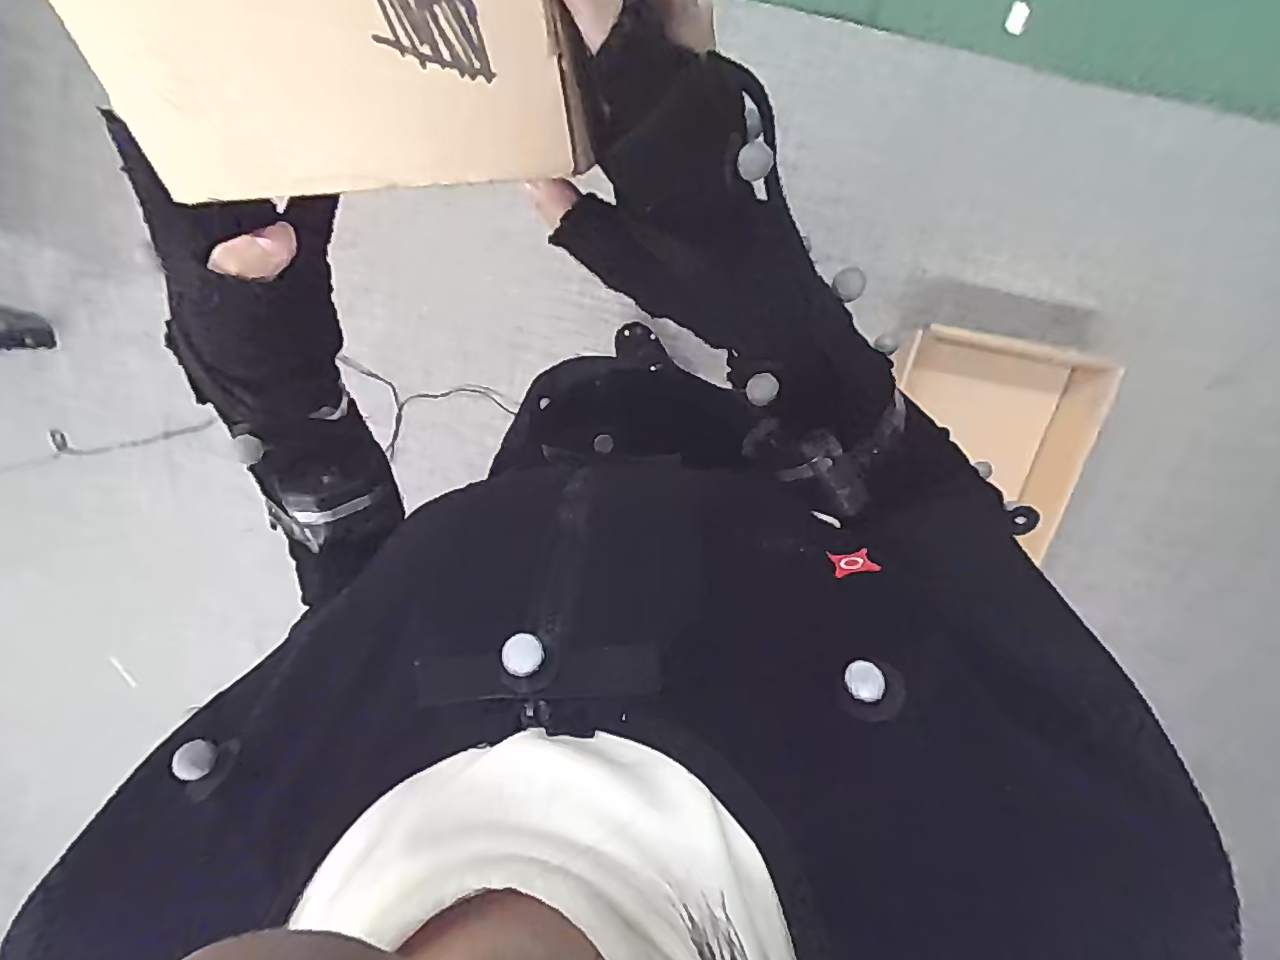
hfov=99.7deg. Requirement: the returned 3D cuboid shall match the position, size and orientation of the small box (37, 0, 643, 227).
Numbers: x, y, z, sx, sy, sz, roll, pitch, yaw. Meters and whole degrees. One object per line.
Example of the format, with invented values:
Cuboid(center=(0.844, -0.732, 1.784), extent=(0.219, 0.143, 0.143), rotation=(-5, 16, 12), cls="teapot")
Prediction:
Cuboid(center=(-0.102, -0.219, 0.208), extent=(0.179, 0.176, 0.168), rotation=(0, 133, 16), cls="small box")
